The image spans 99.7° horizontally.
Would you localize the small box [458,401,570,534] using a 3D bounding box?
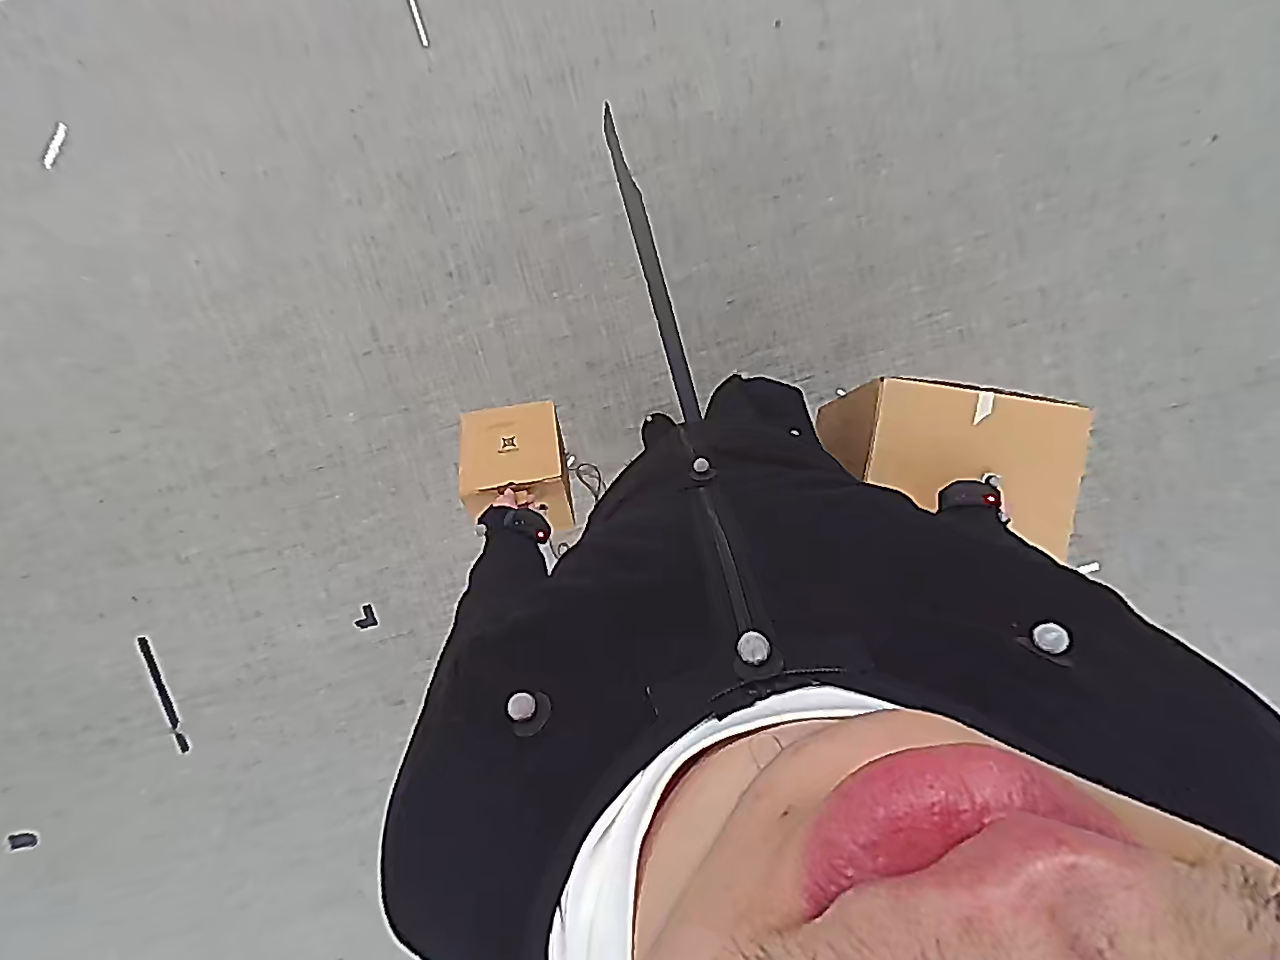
[{"bbox_3d":[-0.223,-0.015,0.978,0.168,0.176,0.179,-9,56,-6],"label":"small box"}]
